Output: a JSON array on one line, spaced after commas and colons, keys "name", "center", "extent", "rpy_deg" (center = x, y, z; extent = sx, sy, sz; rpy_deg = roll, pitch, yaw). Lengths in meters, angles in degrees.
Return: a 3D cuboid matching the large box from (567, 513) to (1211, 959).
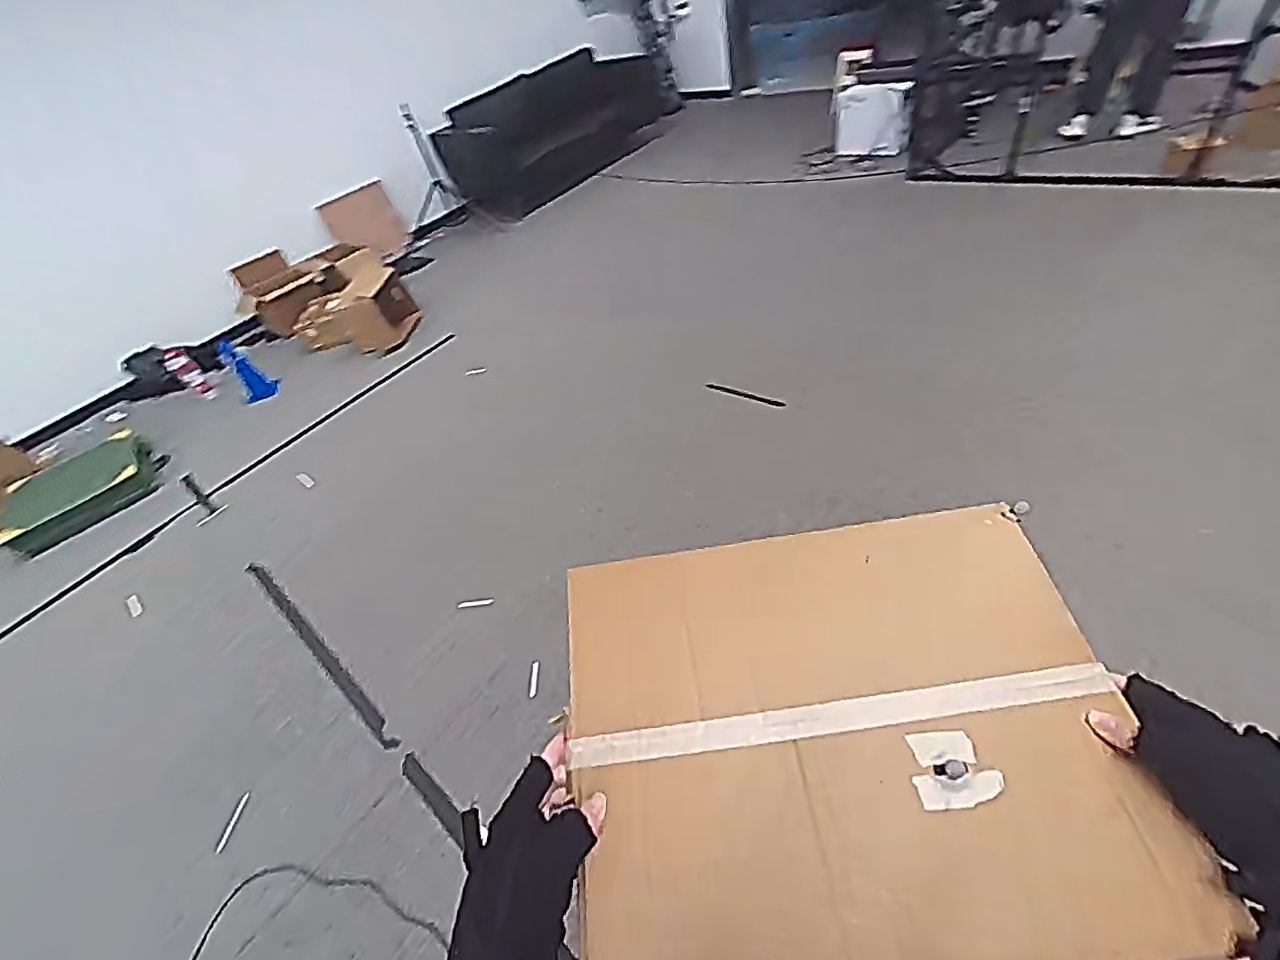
[{"name": "large box", "center": [0.161, 0.273, 0.547], "extent": [0.408, 0.320, 0.320], "rpy_deg": [-10, 56, 2]}]
